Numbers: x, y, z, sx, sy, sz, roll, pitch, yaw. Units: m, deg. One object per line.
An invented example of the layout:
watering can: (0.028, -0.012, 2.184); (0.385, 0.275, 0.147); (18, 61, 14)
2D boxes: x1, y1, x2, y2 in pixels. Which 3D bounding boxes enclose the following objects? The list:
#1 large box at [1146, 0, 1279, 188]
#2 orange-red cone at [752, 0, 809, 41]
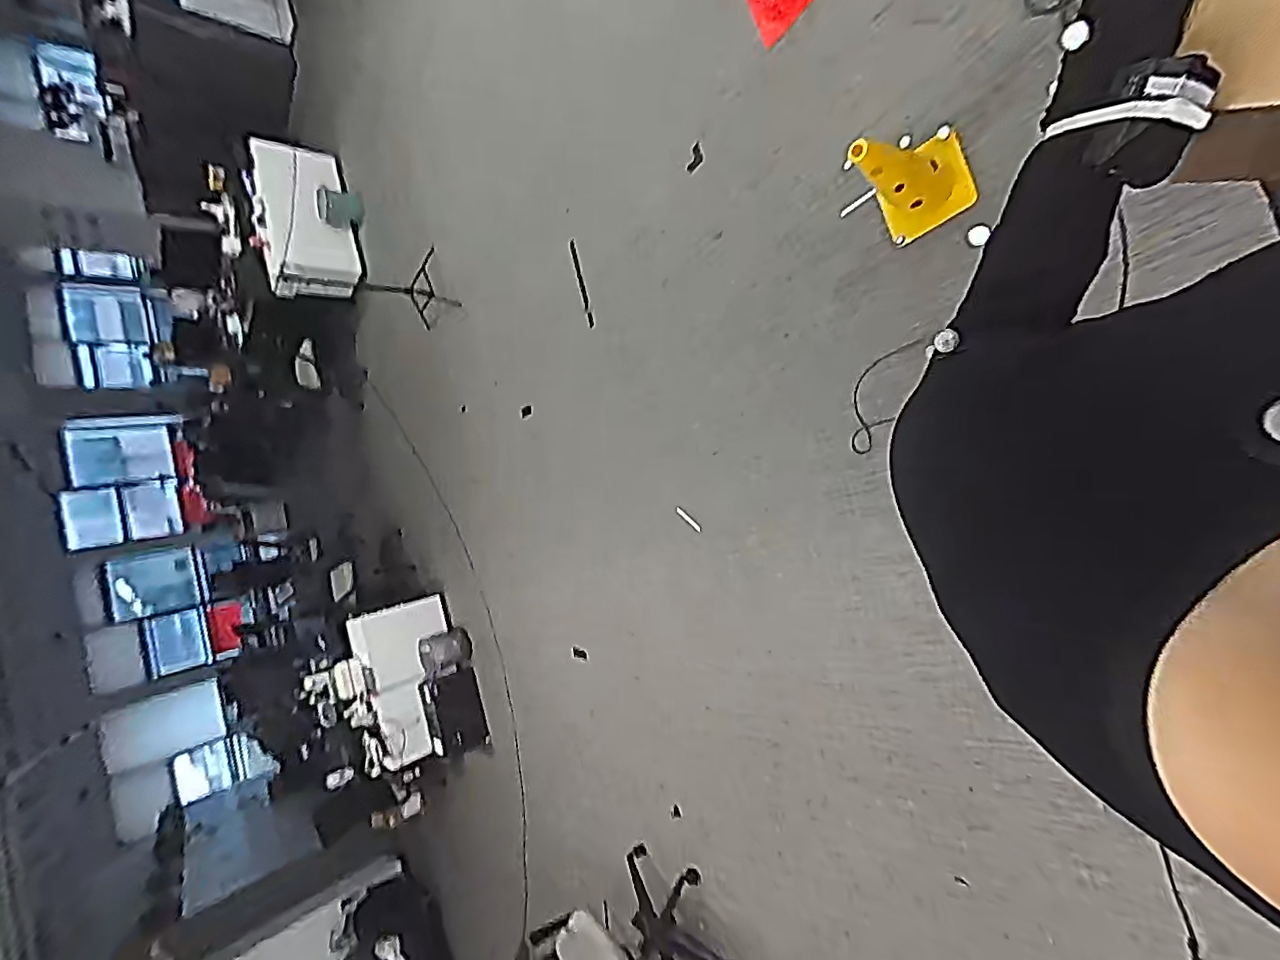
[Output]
large box: (0.610, -0.377, 0.312); (0.408, 0.320, 0.320); (22, 118, 40)
orange-red cone: (0.281, -1.362, 1.407); (0.198, 0.360, 0.199); (-24, 81, 48)
